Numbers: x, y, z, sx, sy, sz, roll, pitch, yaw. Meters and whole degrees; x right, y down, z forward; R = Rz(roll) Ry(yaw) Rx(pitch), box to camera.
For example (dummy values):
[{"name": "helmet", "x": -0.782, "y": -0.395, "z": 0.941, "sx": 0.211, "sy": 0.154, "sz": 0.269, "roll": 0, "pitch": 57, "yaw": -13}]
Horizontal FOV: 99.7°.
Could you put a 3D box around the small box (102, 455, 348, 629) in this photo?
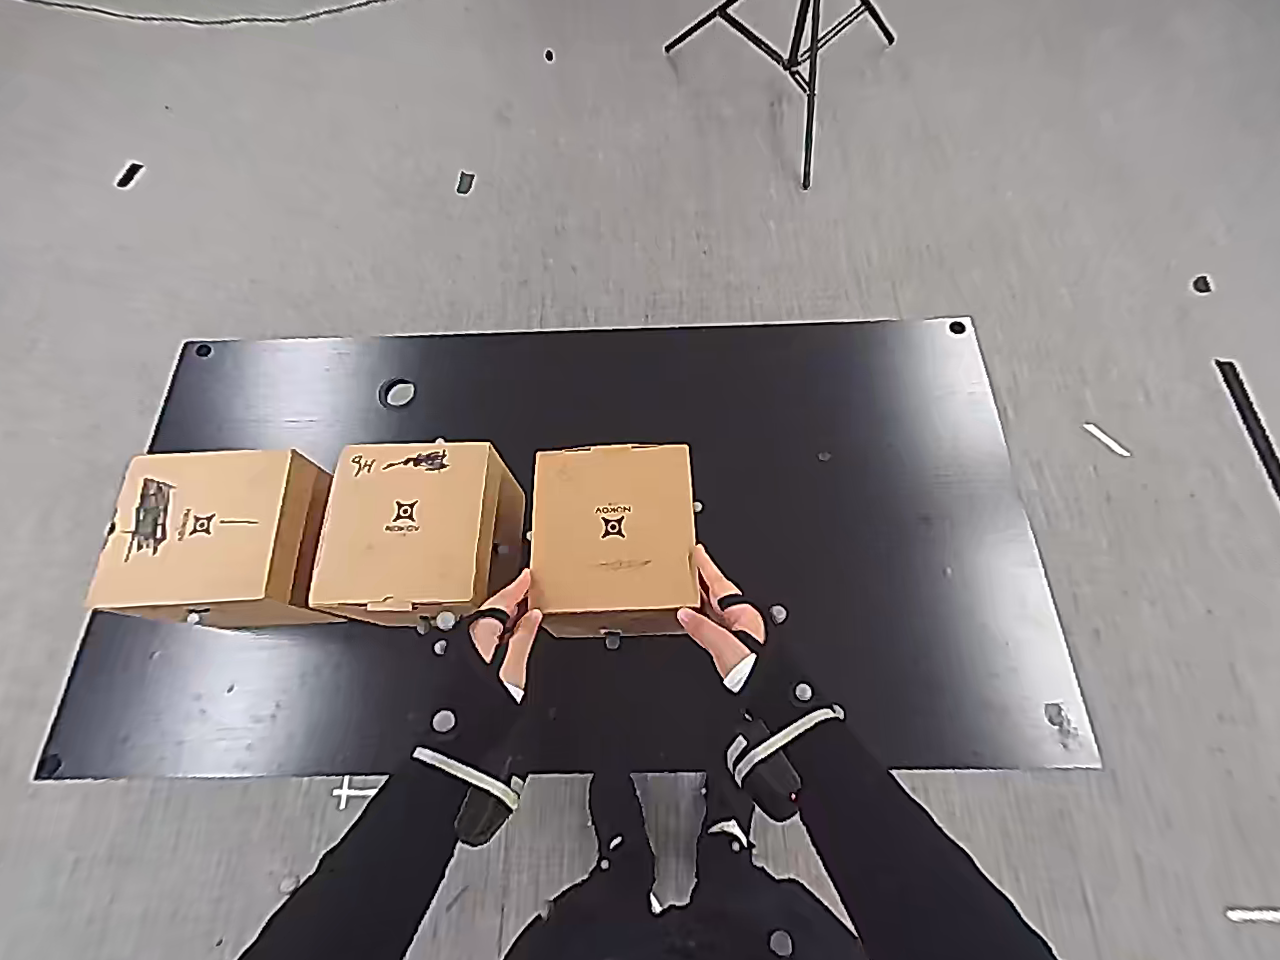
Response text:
[{"name": "small box", "x": -0.453, "y": 0.082, "z": 0.643, "sx": 0.179, "sy": 0.176, "sz": 0.168, "roll": -3, "pitch": 68, "yaw": 0}]

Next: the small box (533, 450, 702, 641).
[{"name": "small box", "x": -0.022, "y": 0.082, "z": 0.626, "sx": 0.168, "sy": 0.176, "sz": 0.179, "roll": -4, "pitch": 67, "yaw": 2}]

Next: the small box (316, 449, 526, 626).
[{"name": "small box", "x": -0.238, "y": 0.077, "z": 0.638, "sx": 0.168, "sy": 0.176, "sz": 0.179, "roll": -1, "pitch": 69, "yaw": 2}]
